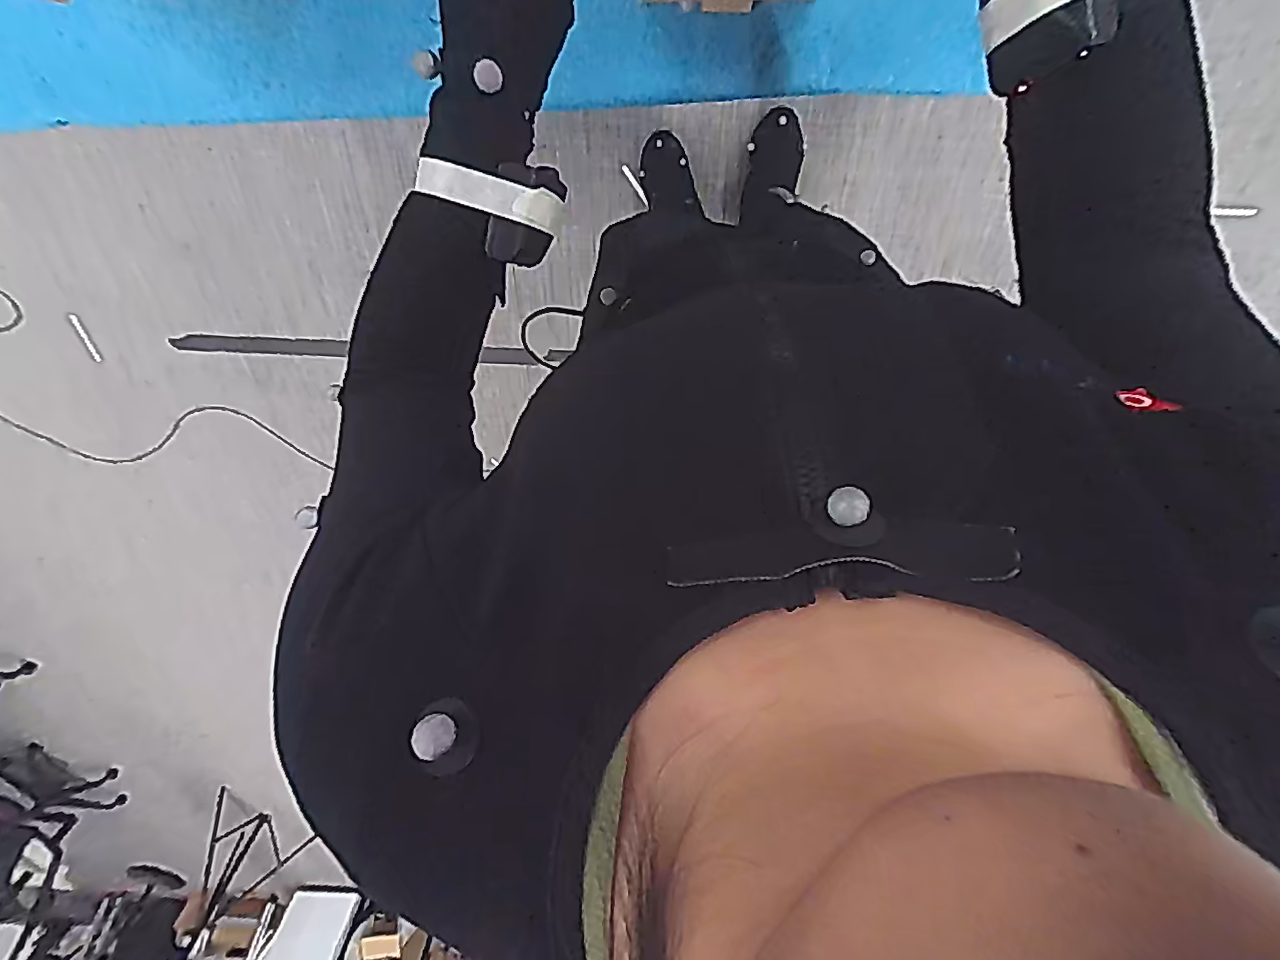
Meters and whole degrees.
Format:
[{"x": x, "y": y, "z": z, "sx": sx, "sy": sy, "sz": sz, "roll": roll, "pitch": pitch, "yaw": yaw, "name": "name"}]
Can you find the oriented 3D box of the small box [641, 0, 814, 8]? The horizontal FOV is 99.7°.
[{"x": 0.073, "y": -0.461, "z": 0.379, "sx": 0.168, "sy": 0.176, "sz": 0.179, "roll": 2, "pitch": 125, "yaw": 3, "name": "small box"}]
